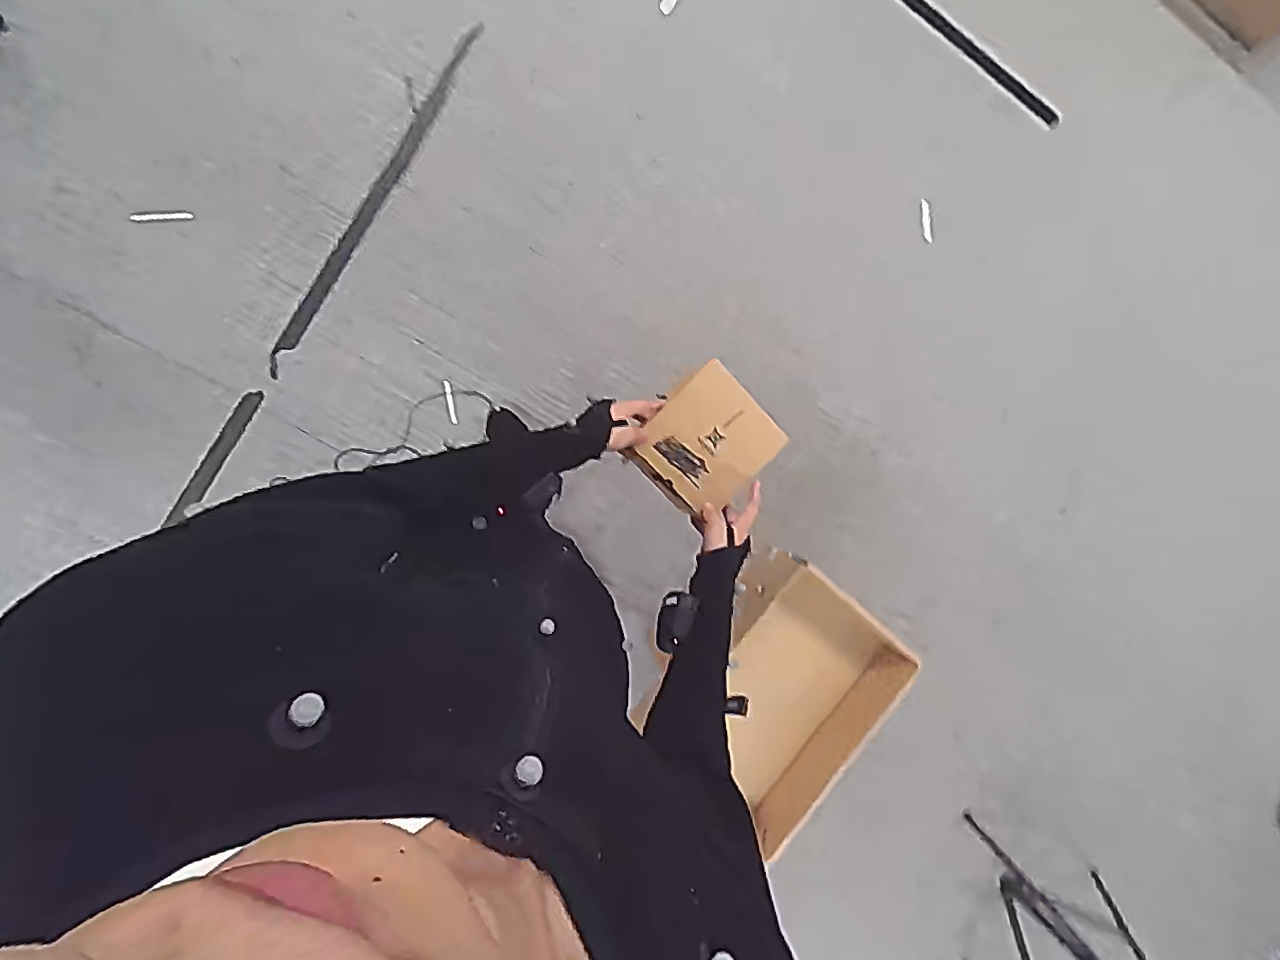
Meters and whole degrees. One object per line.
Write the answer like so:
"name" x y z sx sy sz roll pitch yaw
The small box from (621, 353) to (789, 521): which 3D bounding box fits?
"small box" 0.085 -0.063 0.824 0.168 0.176 0.179 45 86 -10
